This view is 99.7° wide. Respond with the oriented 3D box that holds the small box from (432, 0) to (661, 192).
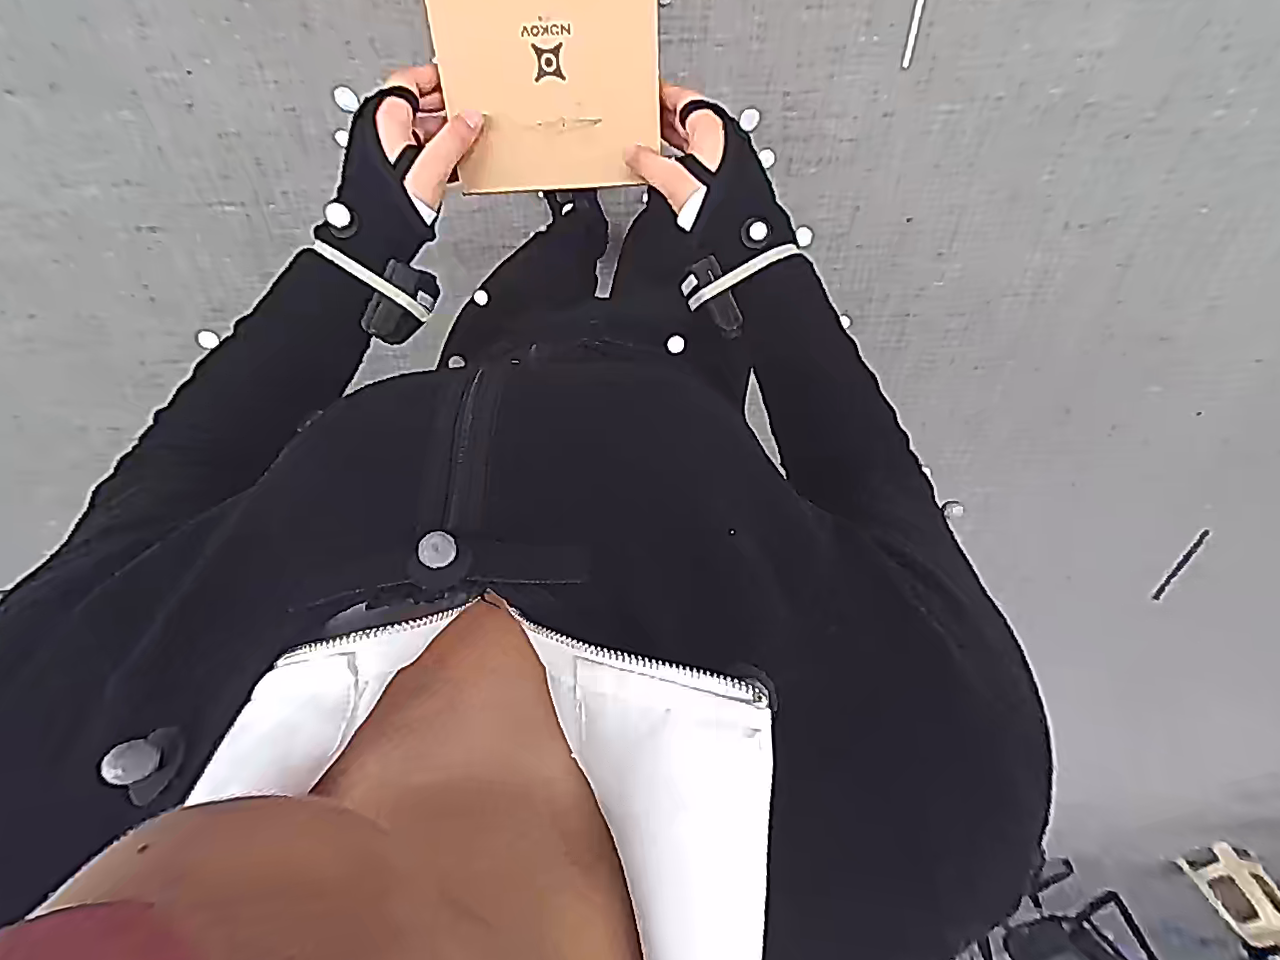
[{"bbox_3d":[-0.069,-0.357,0.472,0.168,0.176,0.179,-3,122,1],"label":"small box"}]
